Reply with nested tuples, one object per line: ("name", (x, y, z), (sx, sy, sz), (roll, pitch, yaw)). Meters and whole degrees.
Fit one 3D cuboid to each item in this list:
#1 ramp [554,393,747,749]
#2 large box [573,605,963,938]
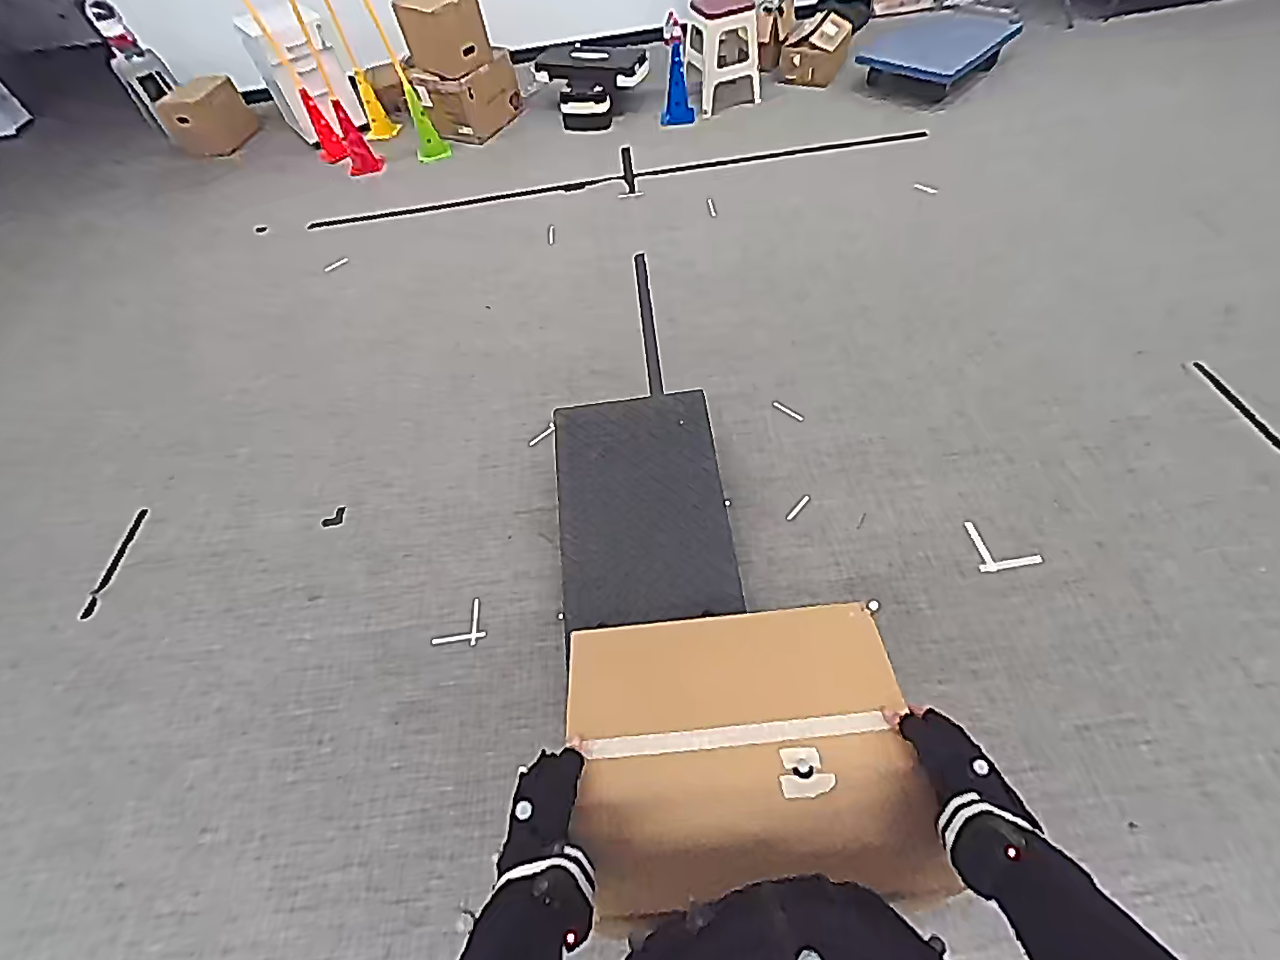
("ramp", (0.021, 0.200, 1.547), (0.509, 0.206, 0.991), (-9, 55, 0))
("large box", (0.133, 0.408, 0.751), (0.408, 0.320, 0.320), (-7, 47, 3))
